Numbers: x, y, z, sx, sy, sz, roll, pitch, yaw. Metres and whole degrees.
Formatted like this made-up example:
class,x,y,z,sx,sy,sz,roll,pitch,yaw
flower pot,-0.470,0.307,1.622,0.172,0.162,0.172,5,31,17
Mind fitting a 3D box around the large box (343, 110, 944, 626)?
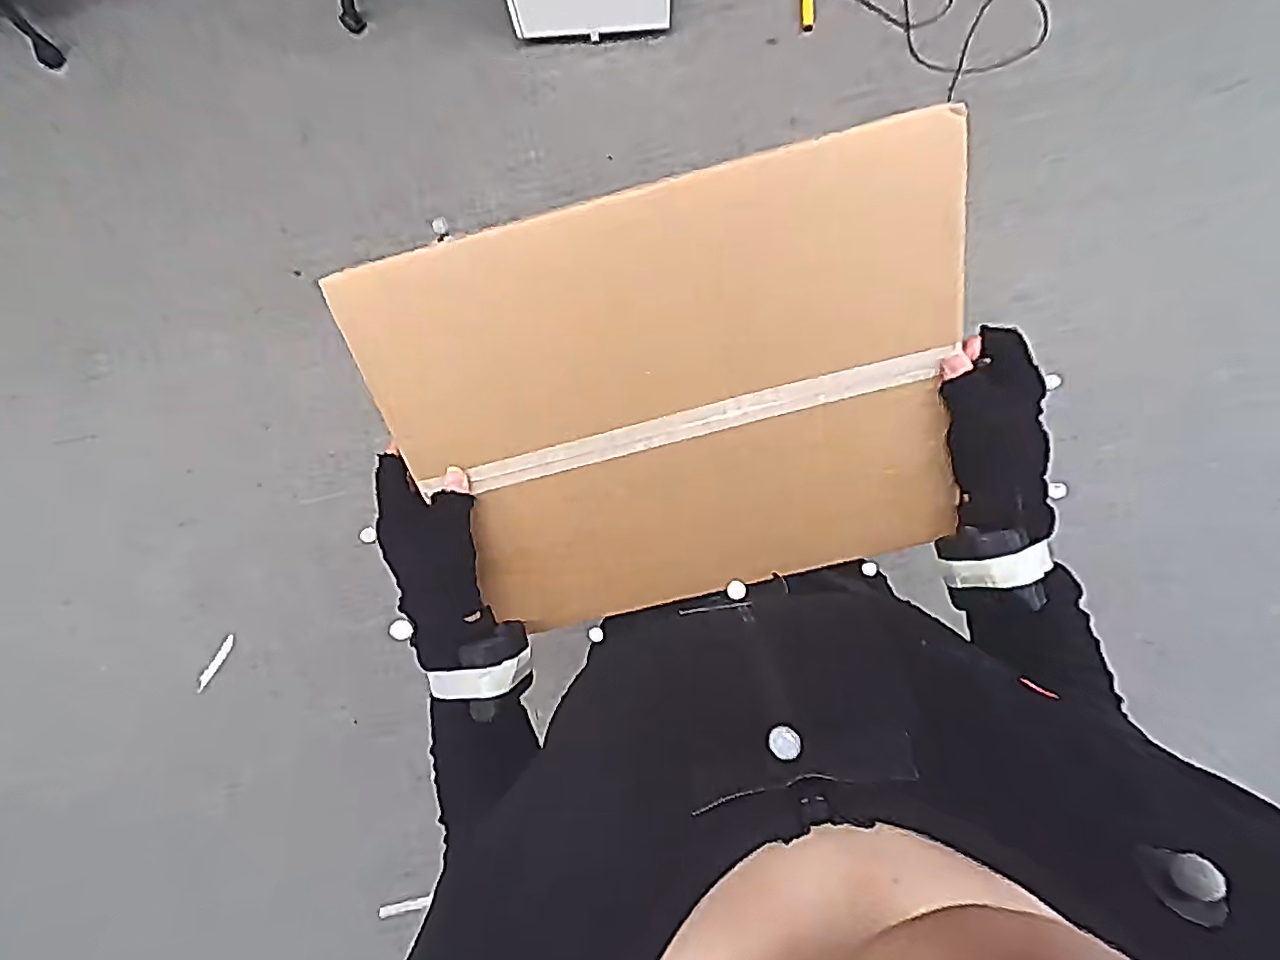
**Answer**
class,x,y,z,sx,sy,sz,roll,pitch,yaw
large box,0.020,-0.112,0.542,0.408,0.320,0.320,-14,117,4
